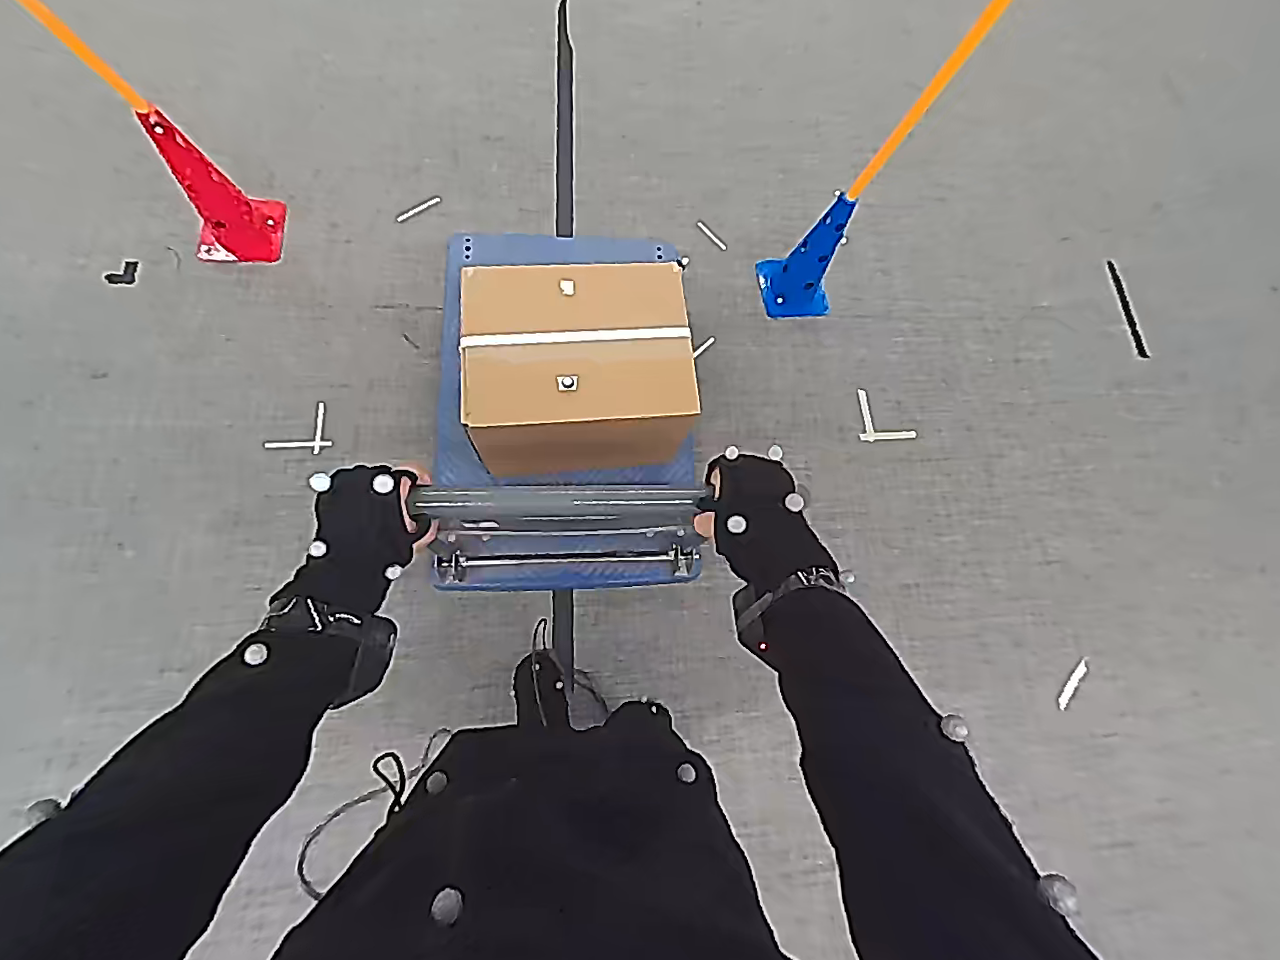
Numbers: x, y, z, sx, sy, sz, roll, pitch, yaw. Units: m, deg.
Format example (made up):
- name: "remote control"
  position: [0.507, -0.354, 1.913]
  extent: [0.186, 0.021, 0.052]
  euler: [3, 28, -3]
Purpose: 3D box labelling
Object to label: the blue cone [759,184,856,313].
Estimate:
- name: "blue cone"
  position: [0.483, -0.635, 1.474]
  extent: [0.193, 0.380, 0.192]
  euler: [-5, 74, -9]
